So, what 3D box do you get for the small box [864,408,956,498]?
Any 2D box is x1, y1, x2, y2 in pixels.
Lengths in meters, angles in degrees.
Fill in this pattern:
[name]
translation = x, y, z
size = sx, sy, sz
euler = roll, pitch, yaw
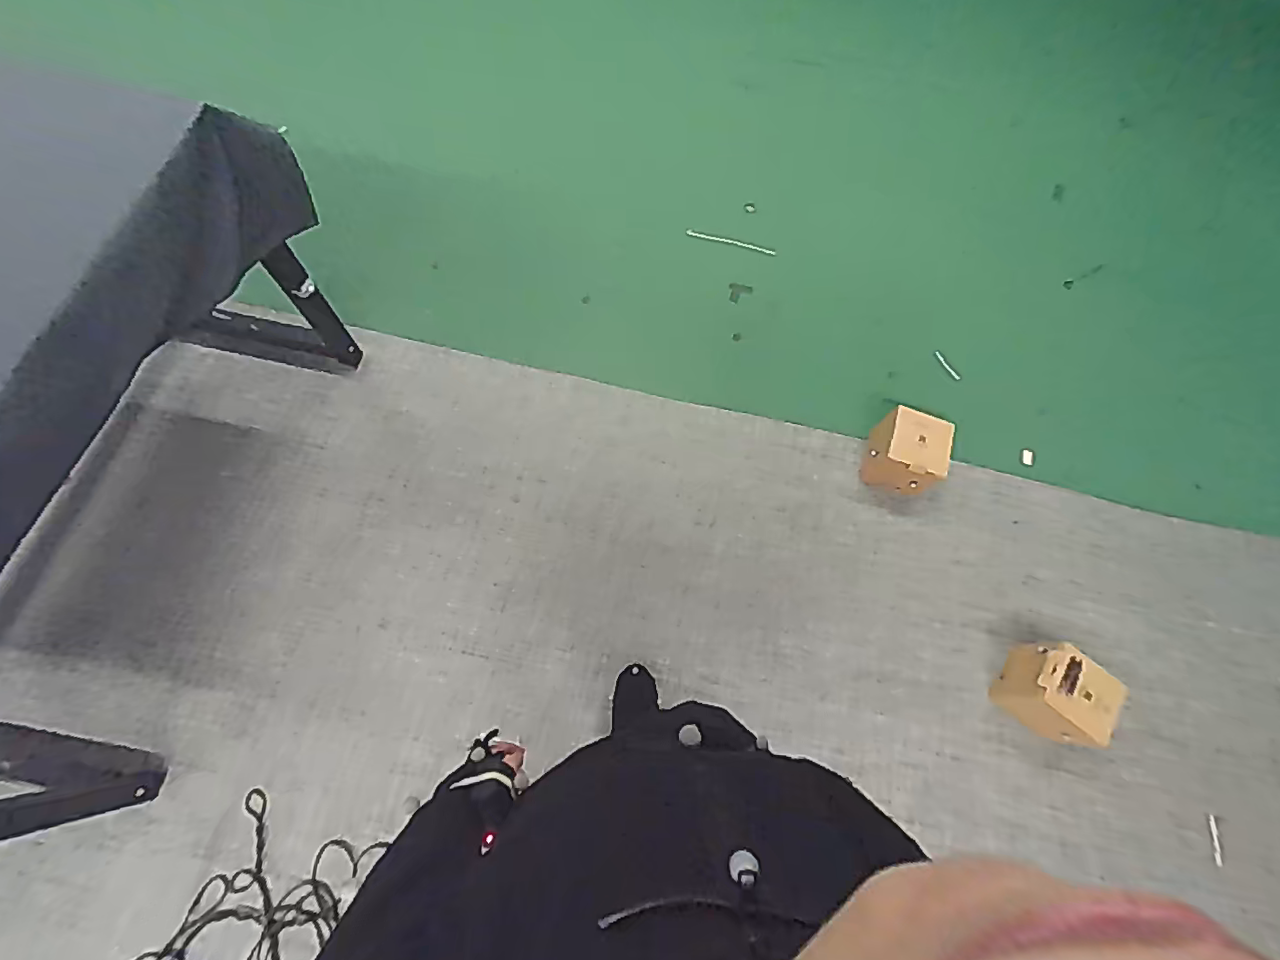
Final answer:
[small box]
translation = 0.760, -0.070, 1.537
size = 0.168, 0.176, 0.179
euler = 20, 68, 1
